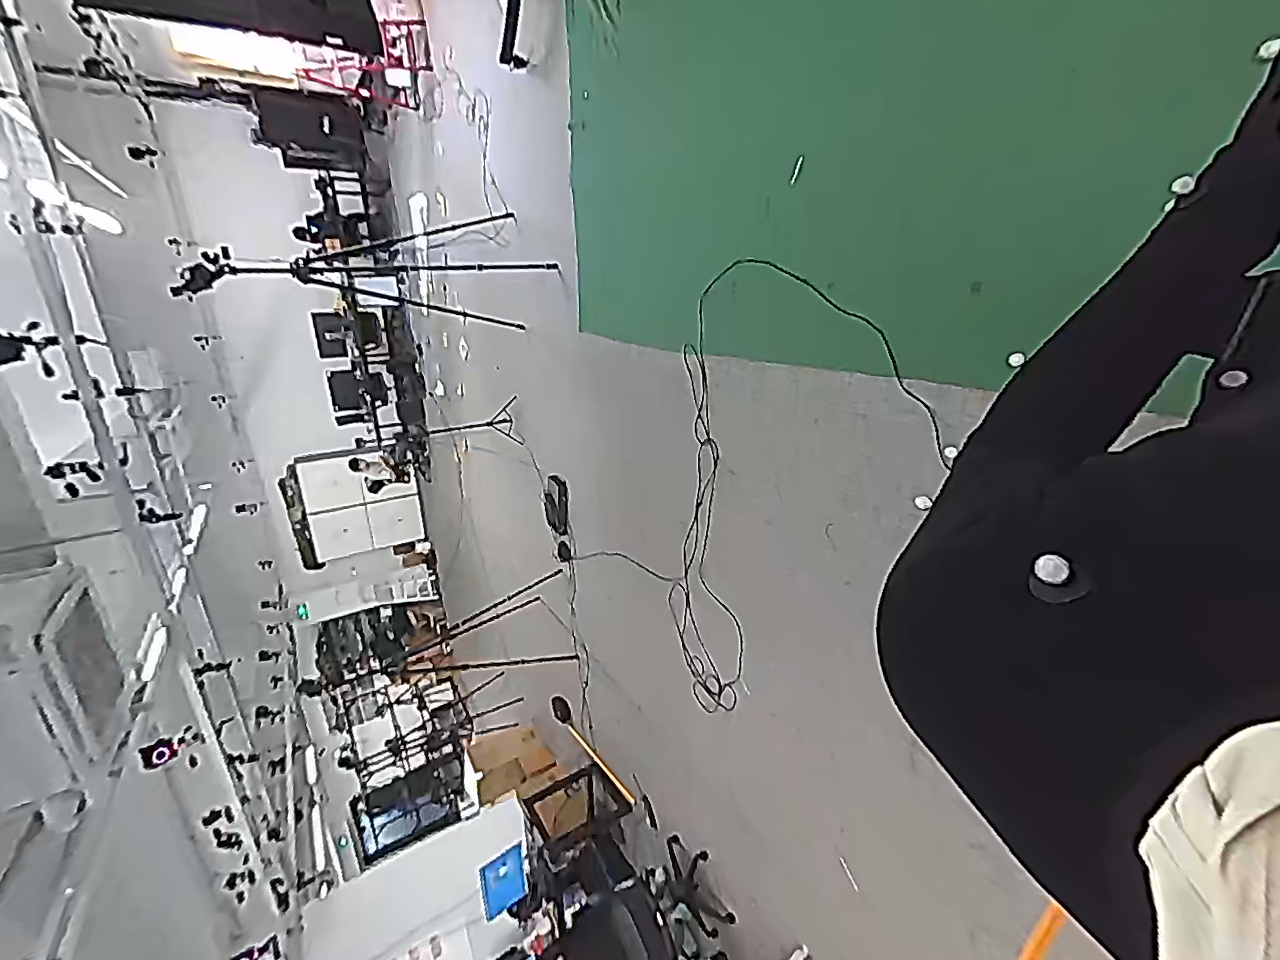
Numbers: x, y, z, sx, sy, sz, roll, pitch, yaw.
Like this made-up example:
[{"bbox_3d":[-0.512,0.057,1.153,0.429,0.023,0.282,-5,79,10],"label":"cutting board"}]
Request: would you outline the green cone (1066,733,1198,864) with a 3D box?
[{"bbox_3d":[1.145,0.819,1.315,0.202,0.368,0.200,28,124,52],"label":"green cone"}]
